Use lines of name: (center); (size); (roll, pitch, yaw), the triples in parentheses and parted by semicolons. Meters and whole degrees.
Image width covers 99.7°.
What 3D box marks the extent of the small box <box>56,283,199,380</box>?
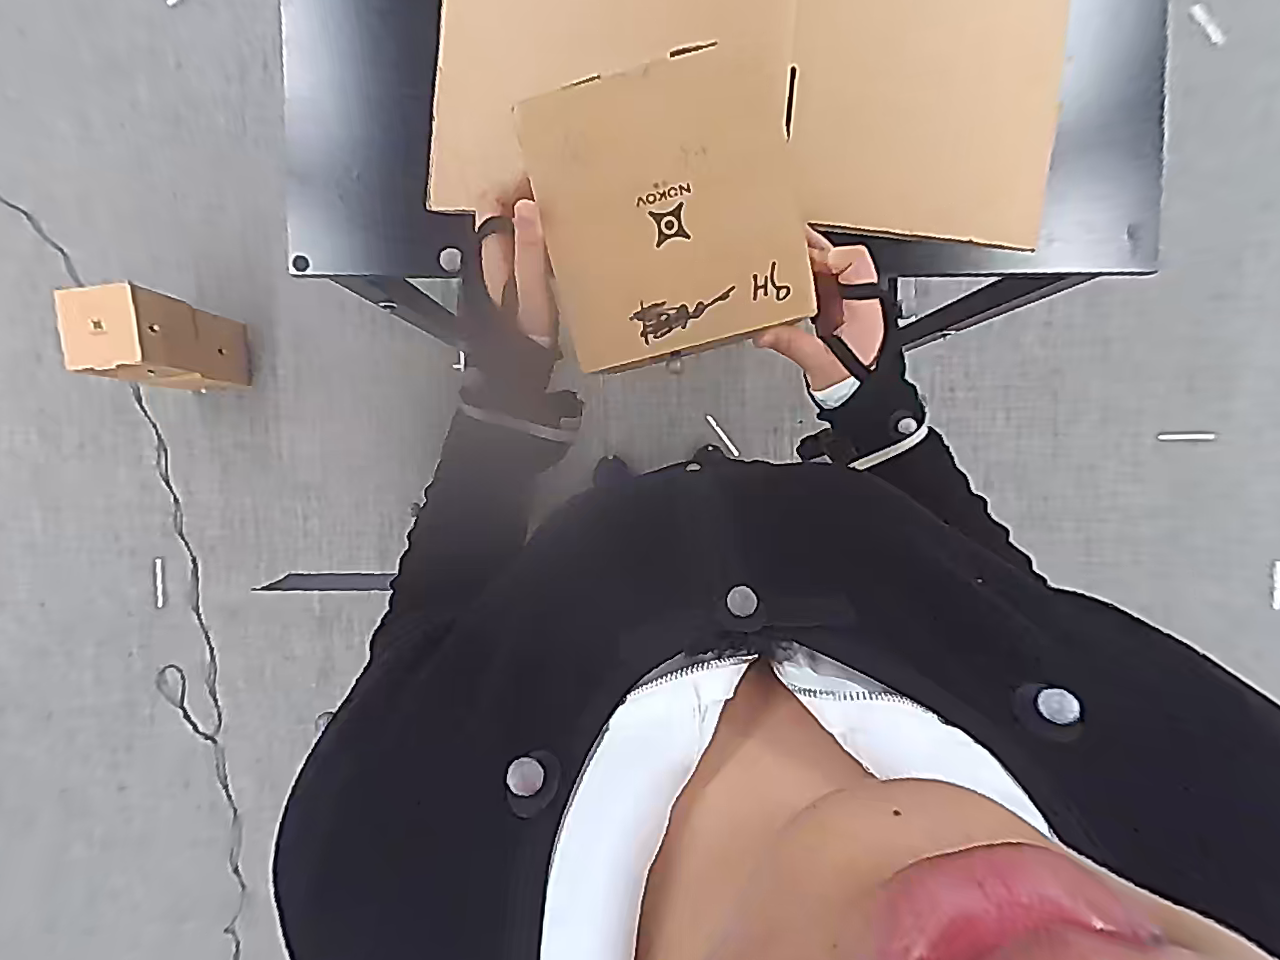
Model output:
small box: (-1.159, -0.331, 1.239); (0.168, 0.176, 0.179); (-7, 92, 0)

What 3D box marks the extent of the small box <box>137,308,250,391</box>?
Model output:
small box: (-1.157, -0.333, 1.401); (0.168, 0.176, 0.179); (-4, 94, 1)

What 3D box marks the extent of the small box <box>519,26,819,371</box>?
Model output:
small box: (0.023, -0.190, 0.426); (0.168, 0.176, 0.179); (-13, 100, 5)
